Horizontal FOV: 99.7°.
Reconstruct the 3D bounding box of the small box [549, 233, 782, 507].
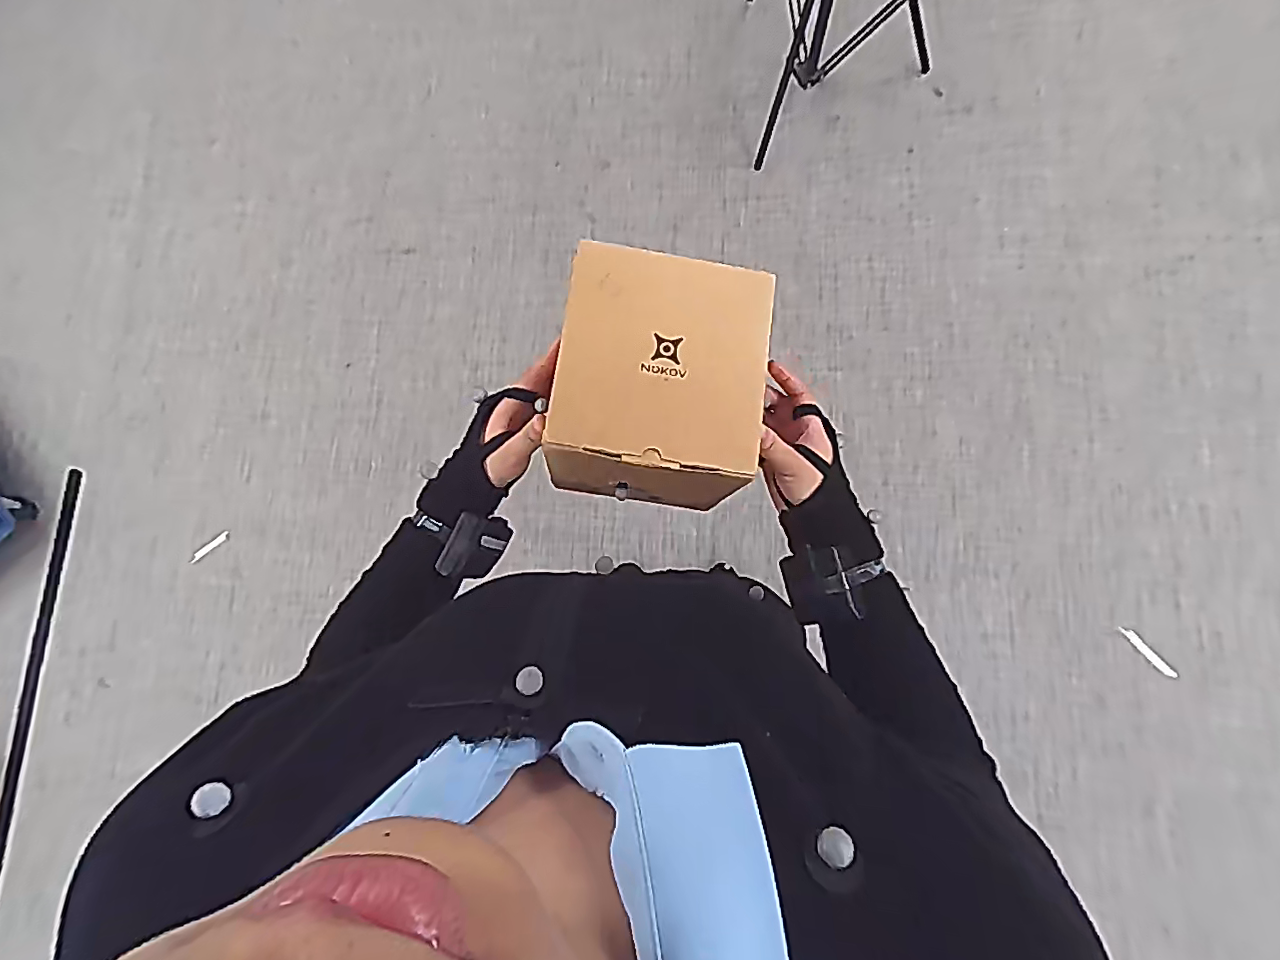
[{"bbox_3d":[0.015,-0.083,0.491,0.168,0.176,0.179,9,78,-4],"label":"small box"}]
